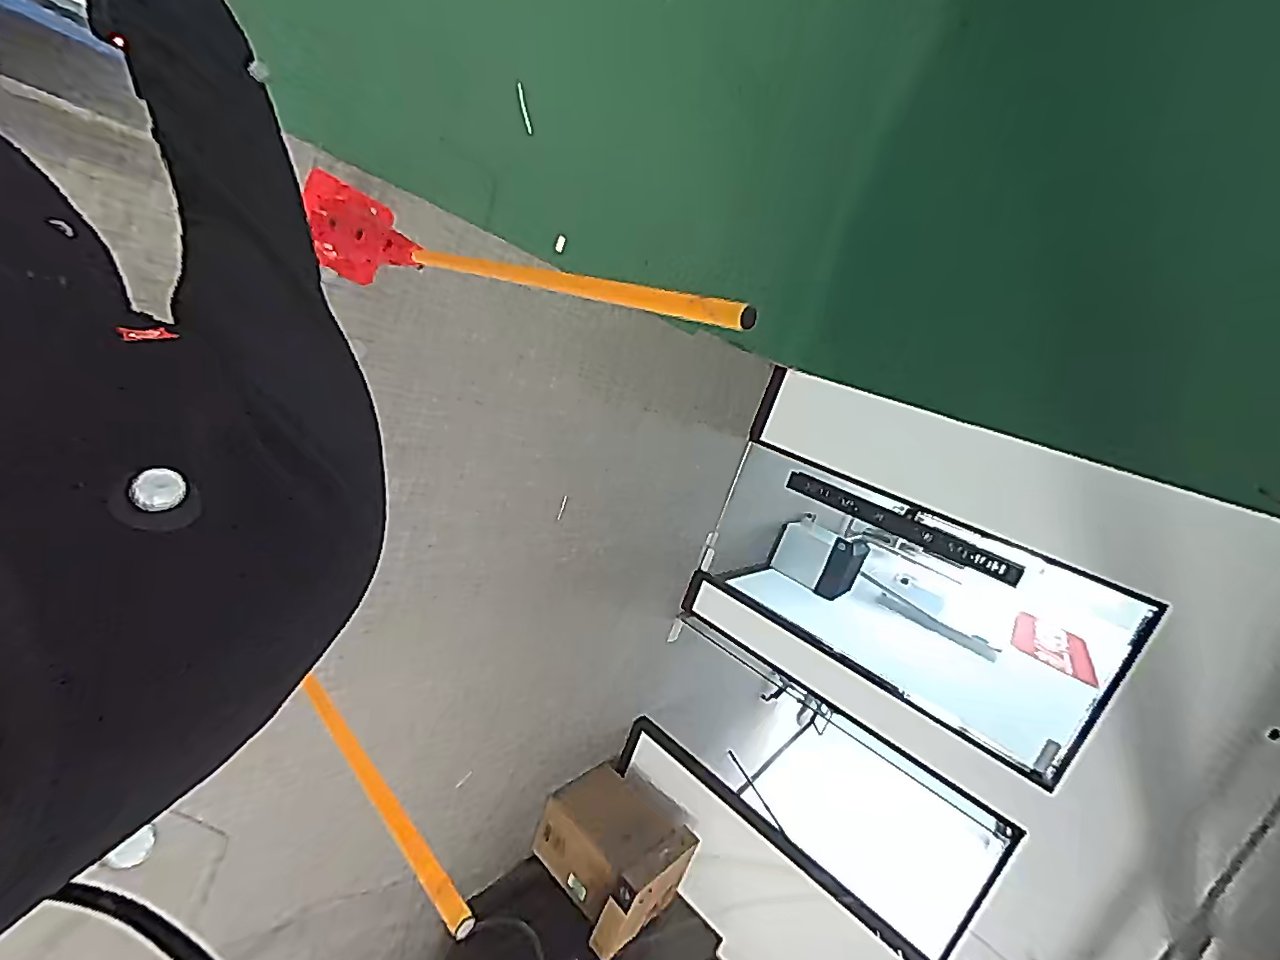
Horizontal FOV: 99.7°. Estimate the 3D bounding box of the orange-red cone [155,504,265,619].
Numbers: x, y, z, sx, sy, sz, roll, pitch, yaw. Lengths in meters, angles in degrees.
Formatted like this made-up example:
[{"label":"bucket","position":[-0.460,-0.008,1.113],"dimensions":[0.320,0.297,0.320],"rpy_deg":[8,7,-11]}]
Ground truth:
[{"label":"orange-red cone","position":[-0.954,0.216,1.257],"dimensions":[0.199,0.360,0.198],"rpy_deg":[4,109,-52]}]
